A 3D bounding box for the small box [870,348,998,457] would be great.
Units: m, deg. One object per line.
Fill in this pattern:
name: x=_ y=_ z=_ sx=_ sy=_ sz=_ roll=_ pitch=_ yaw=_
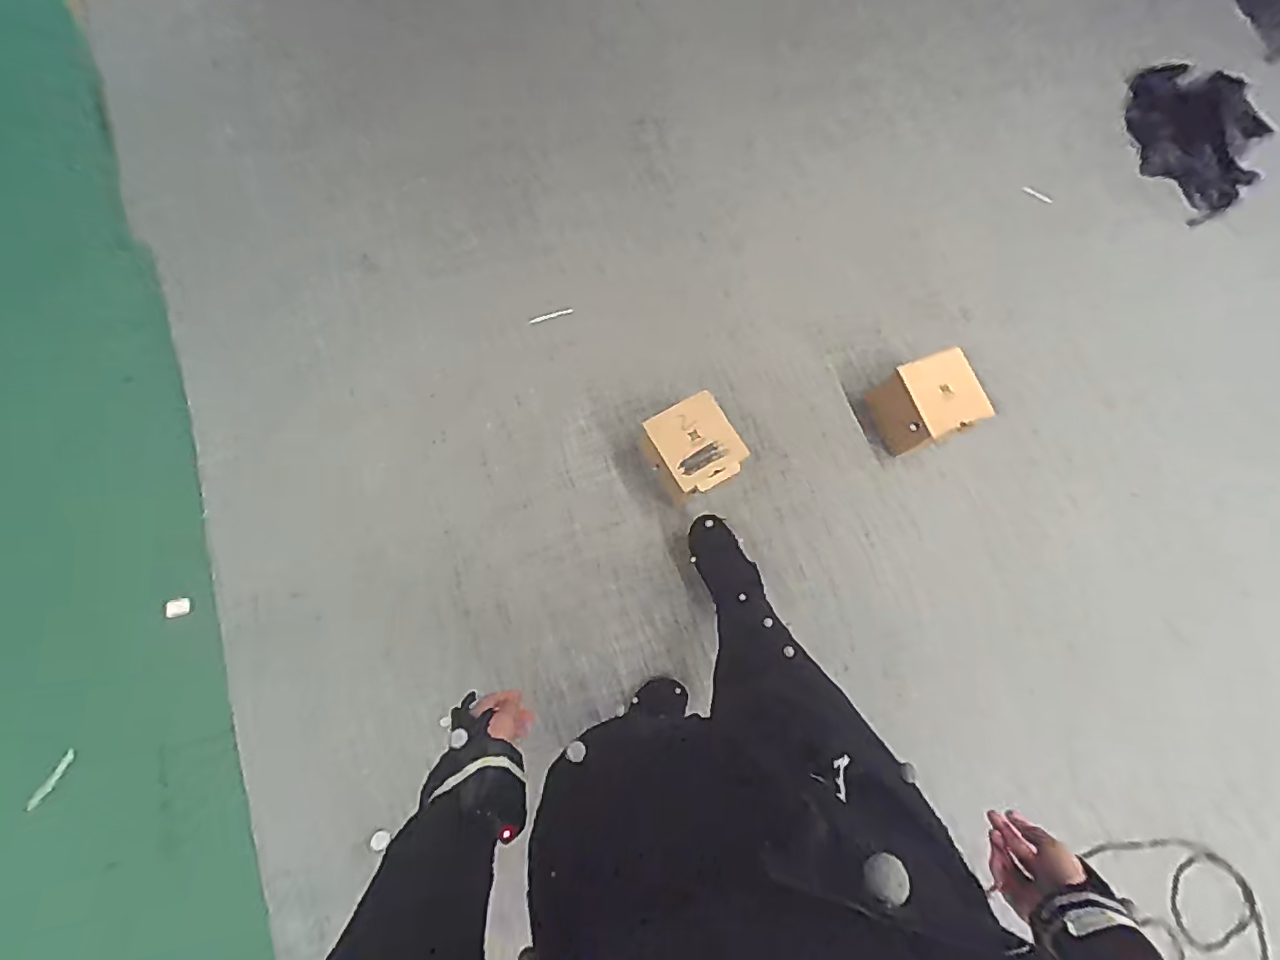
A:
small box: x=0.673 y=-0.175 z=1.264 sx=0.168 sy=0.176 sz=0.179 roll=-19 pitch=79 yaw=-8
